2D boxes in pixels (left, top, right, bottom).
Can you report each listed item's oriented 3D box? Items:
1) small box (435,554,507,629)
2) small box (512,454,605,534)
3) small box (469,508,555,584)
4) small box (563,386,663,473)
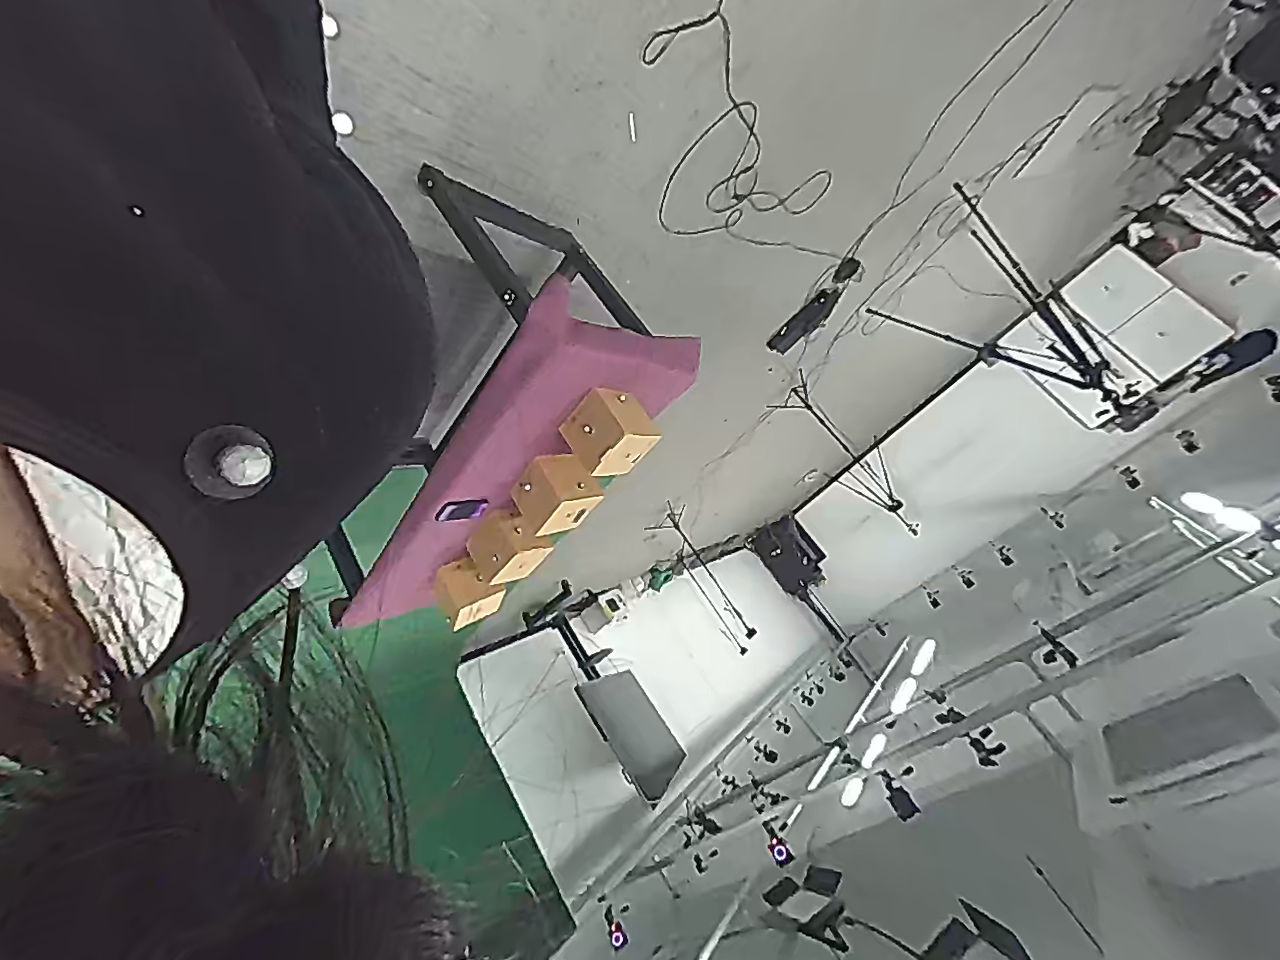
[{"bbox_3d":[-0.575,0.363,1.820,0.168,0.176,0.179,-20,156,-37],"label":"small box"},{"bbox_3d":[-0.243,0.035,1.595,0.179,0.176,0.168,-7,146,-51],"label":"small box"},{"bbox_3d":[-0.410,0.199,1.708,0.179,0.176,0.168,-44,158,24],"label":"small box"},{"bbox_3d":[-0.077,-0.135,1.470,0.168,0.176,0.179,-45,158,27],"label":"small box"}]
